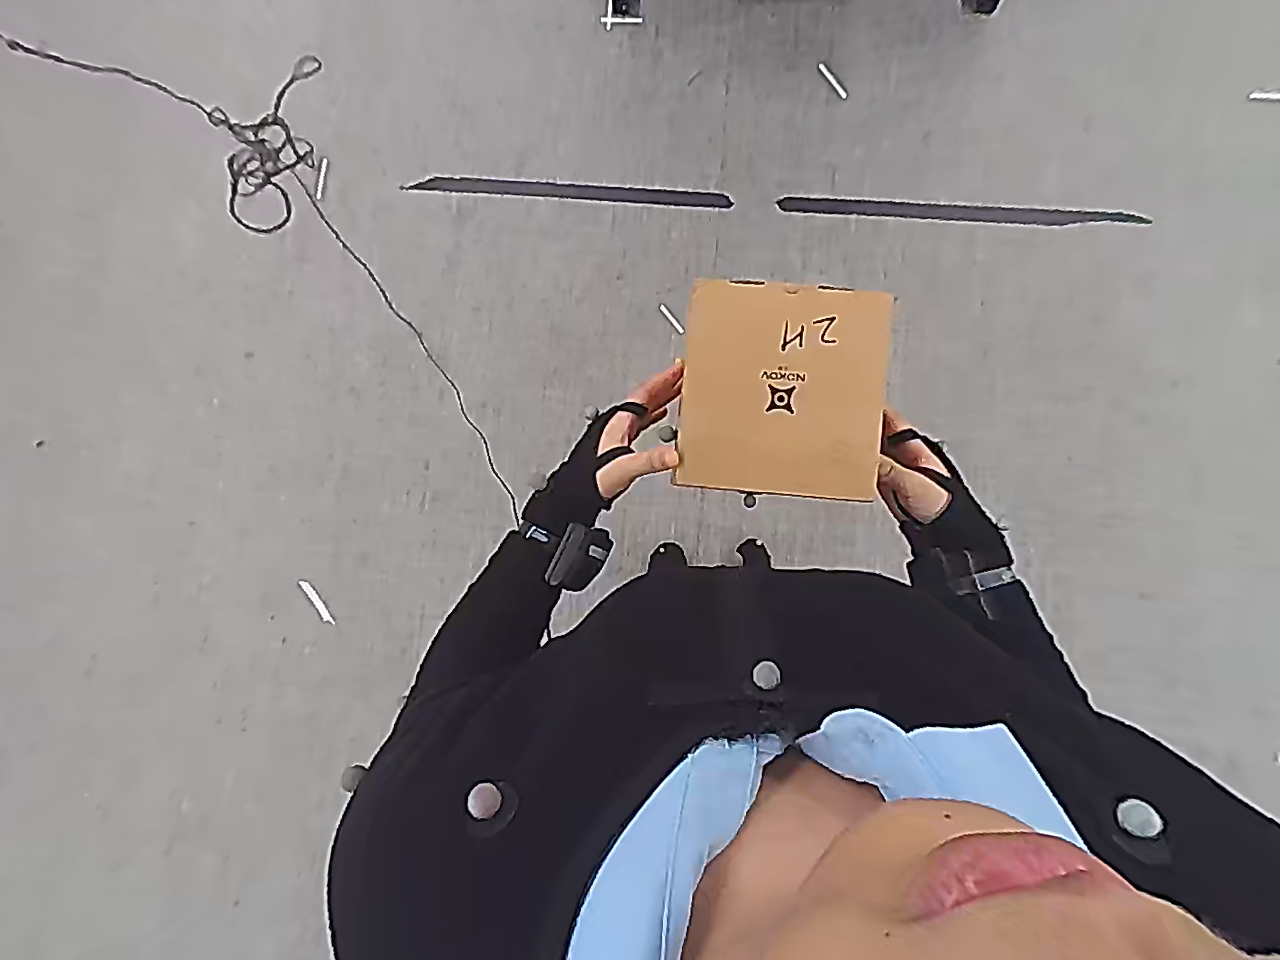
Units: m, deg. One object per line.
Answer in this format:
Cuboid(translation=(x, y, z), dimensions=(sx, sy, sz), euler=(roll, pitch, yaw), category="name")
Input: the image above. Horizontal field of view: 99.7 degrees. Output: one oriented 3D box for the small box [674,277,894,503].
Cuboid(translation=(0.122, -0.074, 0.522), dimensions=(0.168, 0.176, 0.179), euler=(5, 89, 2), category="small box")
